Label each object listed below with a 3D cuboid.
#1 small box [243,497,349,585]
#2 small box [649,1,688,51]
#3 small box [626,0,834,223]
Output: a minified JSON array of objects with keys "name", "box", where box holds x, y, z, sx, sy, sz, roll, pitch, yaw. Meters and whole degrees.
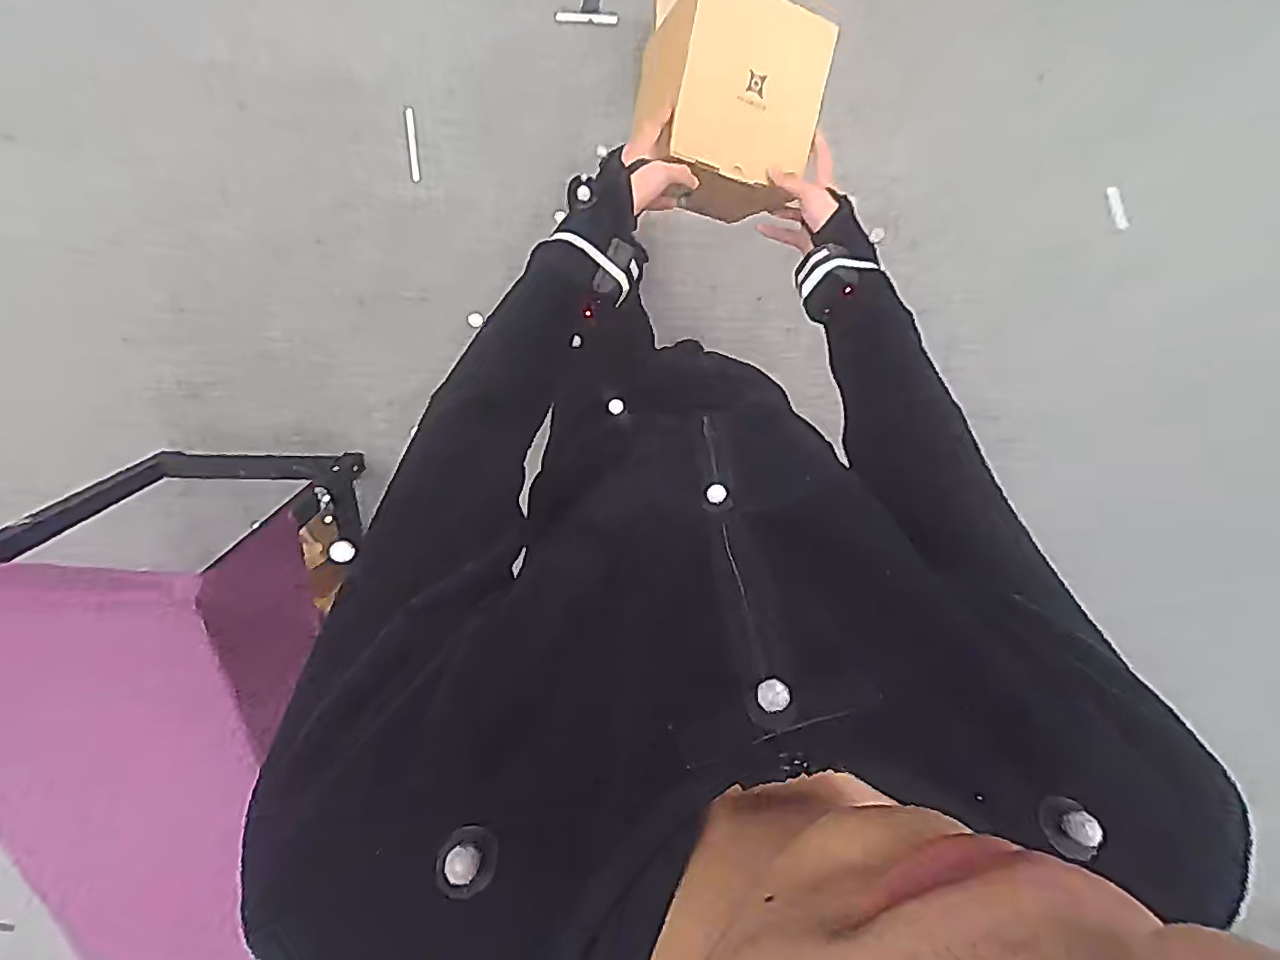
[{"name":"small box","box":[-1.027,0.179,1.632,0.179,0.176,0.168,-25,114,9]},{"name":"small box","box":[0.112,-0.917,1.188,0.179,0.176,0.168,0,115,-2]},{"name":"small box","box":[0.094,-0.432,0.648,0.168,0.176,0.179,7,103,-21]}]
